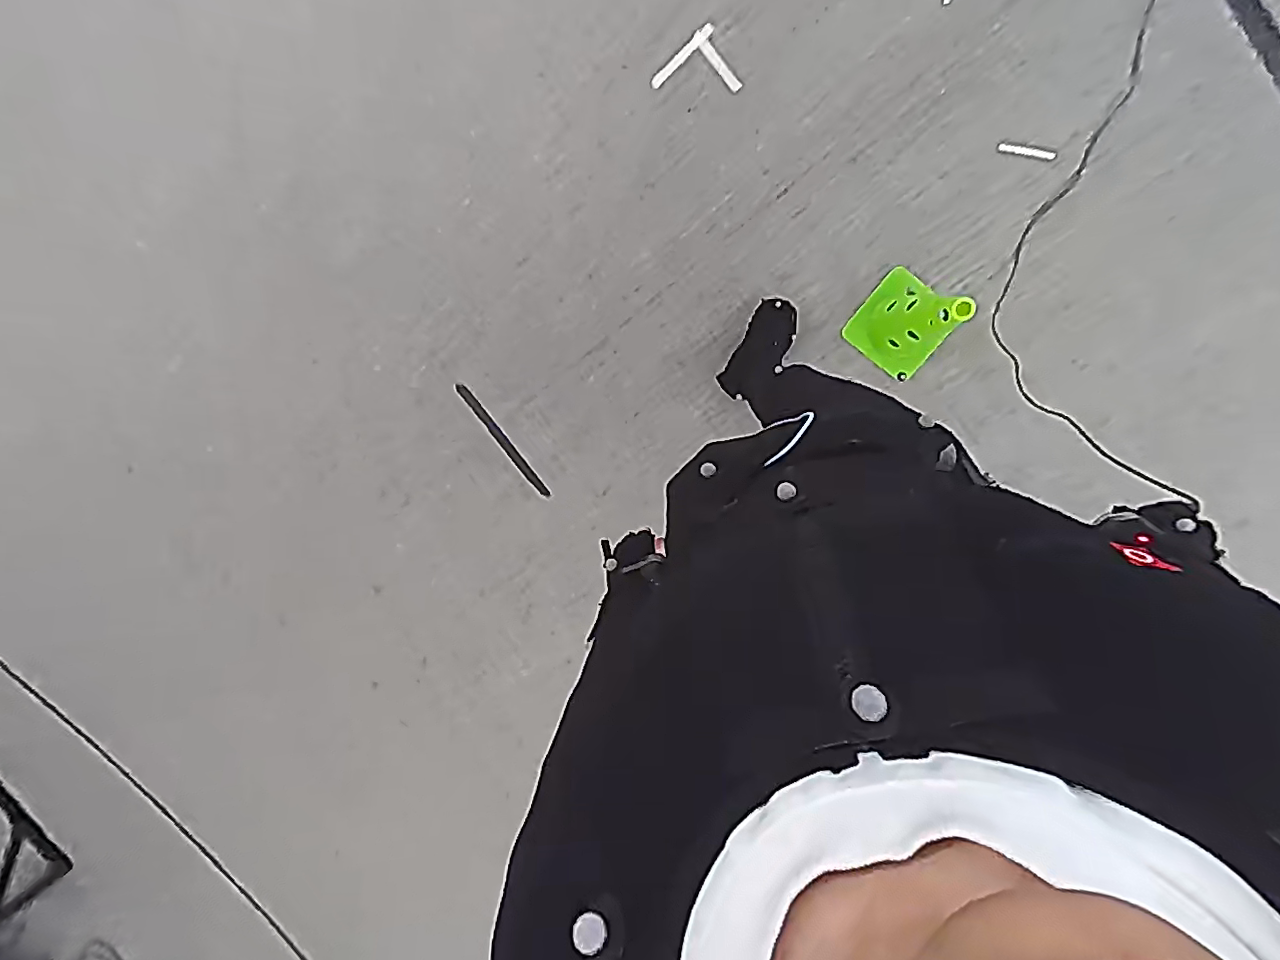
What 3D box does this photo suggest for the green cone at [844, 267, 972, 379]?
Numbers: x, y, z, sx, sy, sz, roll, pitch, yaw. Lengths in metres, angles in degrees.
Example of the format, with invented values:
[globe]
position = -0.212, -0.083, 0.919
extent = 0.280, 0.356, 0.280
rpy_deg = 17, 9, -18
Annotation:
[green cone]
position = 0.590, -0.339, 1.106
extent = 0.202, 0.368, 0.200
rpy_deg = 38, 103, 2
